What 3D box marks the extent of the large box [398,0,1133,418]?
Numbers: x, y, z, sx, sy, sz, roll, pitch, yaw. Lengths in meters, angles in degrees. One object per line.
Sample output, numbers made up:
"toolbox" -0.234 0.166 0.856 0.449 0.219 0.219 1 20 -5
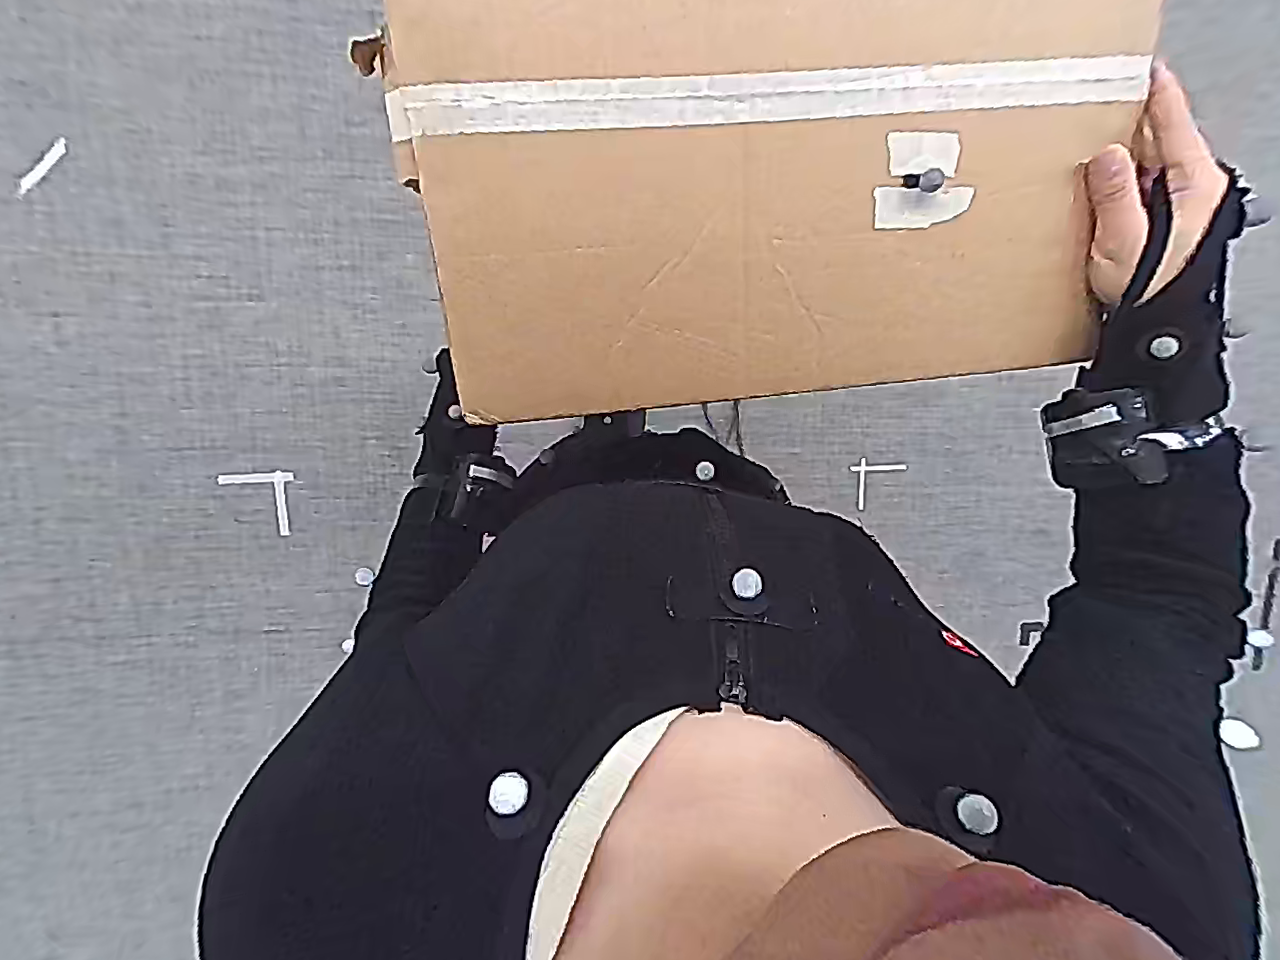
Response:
"large box" 0.059 -0.252 0.434 0.408 0.320 0.320 -8 110 -8
